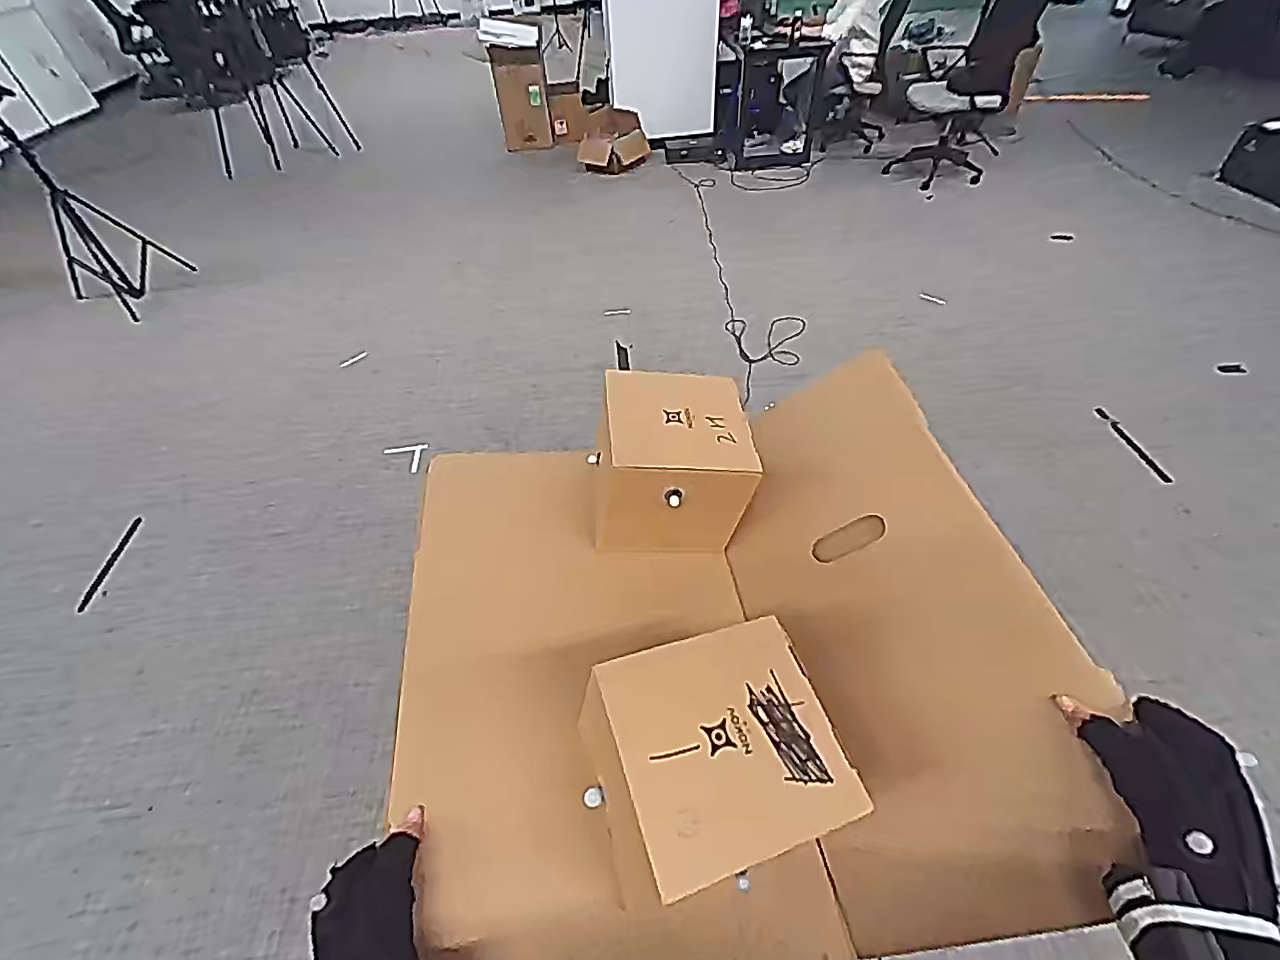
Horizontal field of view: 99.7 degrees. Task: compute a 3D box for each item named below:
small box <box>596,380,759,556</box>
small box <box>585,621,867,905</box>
[{"bbox_3d":[0.034,-0.011,0.717,0.179,0.176,0.168,3,50,-10],"label":"small box"},{"bbox_3d":[0.058,0.255,0.492,0.179,0.176,0.168,-10,53,-19],"label":"small box"}]
